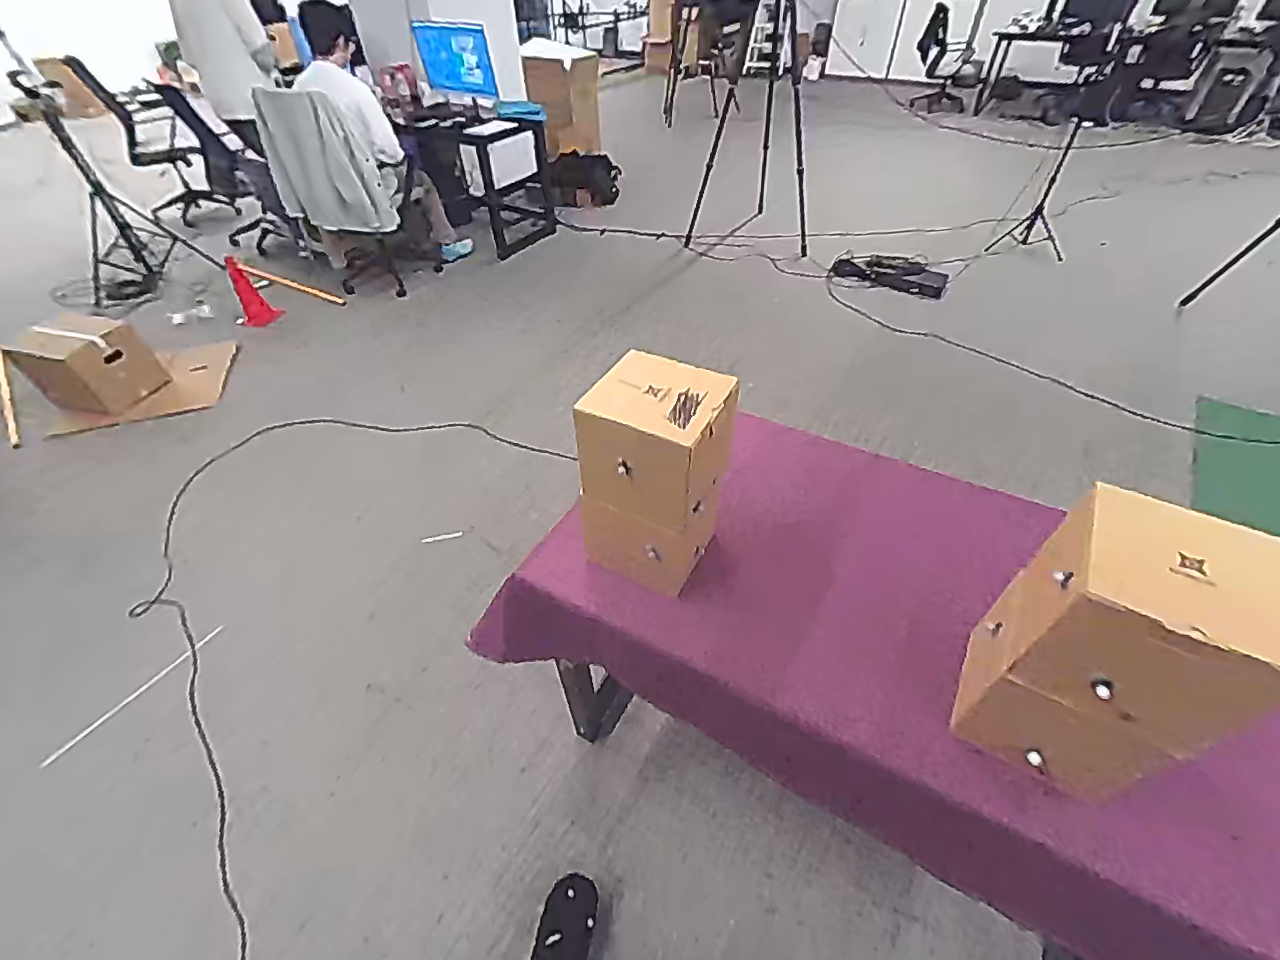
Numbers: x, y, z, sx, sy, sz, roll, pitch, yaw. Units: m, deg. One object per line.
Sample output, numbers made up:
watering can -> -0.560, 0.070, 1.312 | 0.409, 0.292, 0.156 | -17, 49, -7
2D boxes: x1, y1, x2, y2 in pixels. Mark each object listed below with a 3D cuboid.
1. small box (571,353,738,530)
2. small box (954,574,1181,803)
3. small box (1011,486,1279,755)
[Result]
small box -> 0.024, -0.053, 0.782 | 0.179, 0.176, 0.168 | 20, 48, 20
small box -> 0.523, 0.260, 0.681 | 0.168, 0.176, 0.179 | 23, 50, 24
small box -> 0.522, 0.144, 0.566 | 0.168, 0.176, 0.179 | 24, 51, 24
